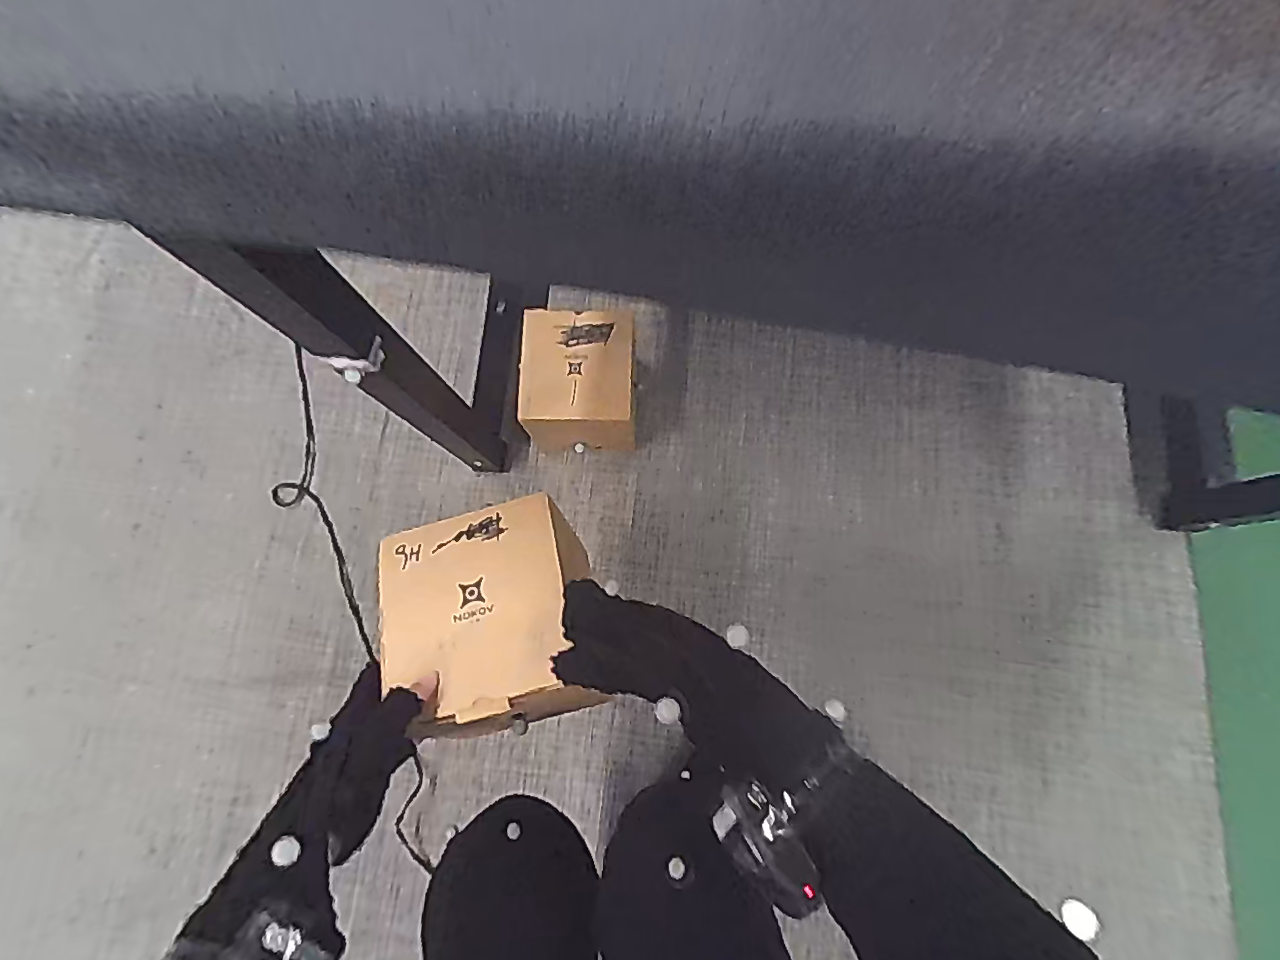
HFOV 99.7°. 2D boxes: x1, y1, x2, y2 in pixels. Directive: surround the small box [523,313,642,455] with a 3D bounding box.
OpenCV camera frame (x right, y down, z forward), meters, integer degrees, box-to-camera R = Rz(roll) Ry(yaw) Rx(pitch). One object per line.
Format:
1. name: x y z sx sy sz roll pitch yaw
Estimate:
1. small box: -0.083 -0.148 0.872 0.168 0.176 0.179 2 78 2
